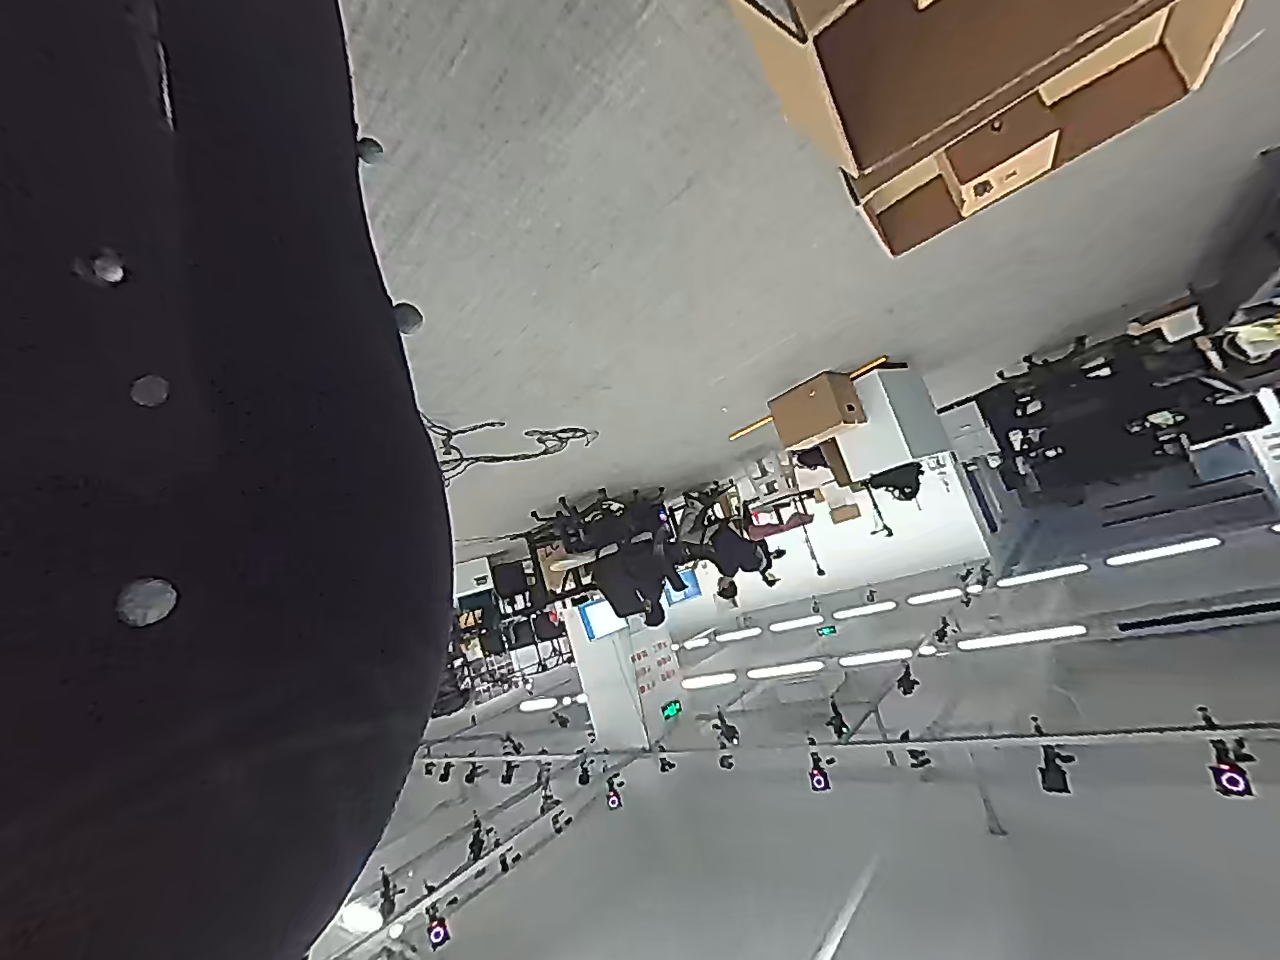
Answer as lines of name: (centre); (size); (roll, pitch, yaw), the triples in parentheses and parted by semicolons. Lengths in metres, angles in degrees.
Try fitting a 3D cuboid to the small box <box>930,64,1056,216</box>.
small box: (0.734, -0.710, 1.144); (0.179, 0.176, 0.168); (-26, 168, 30)
